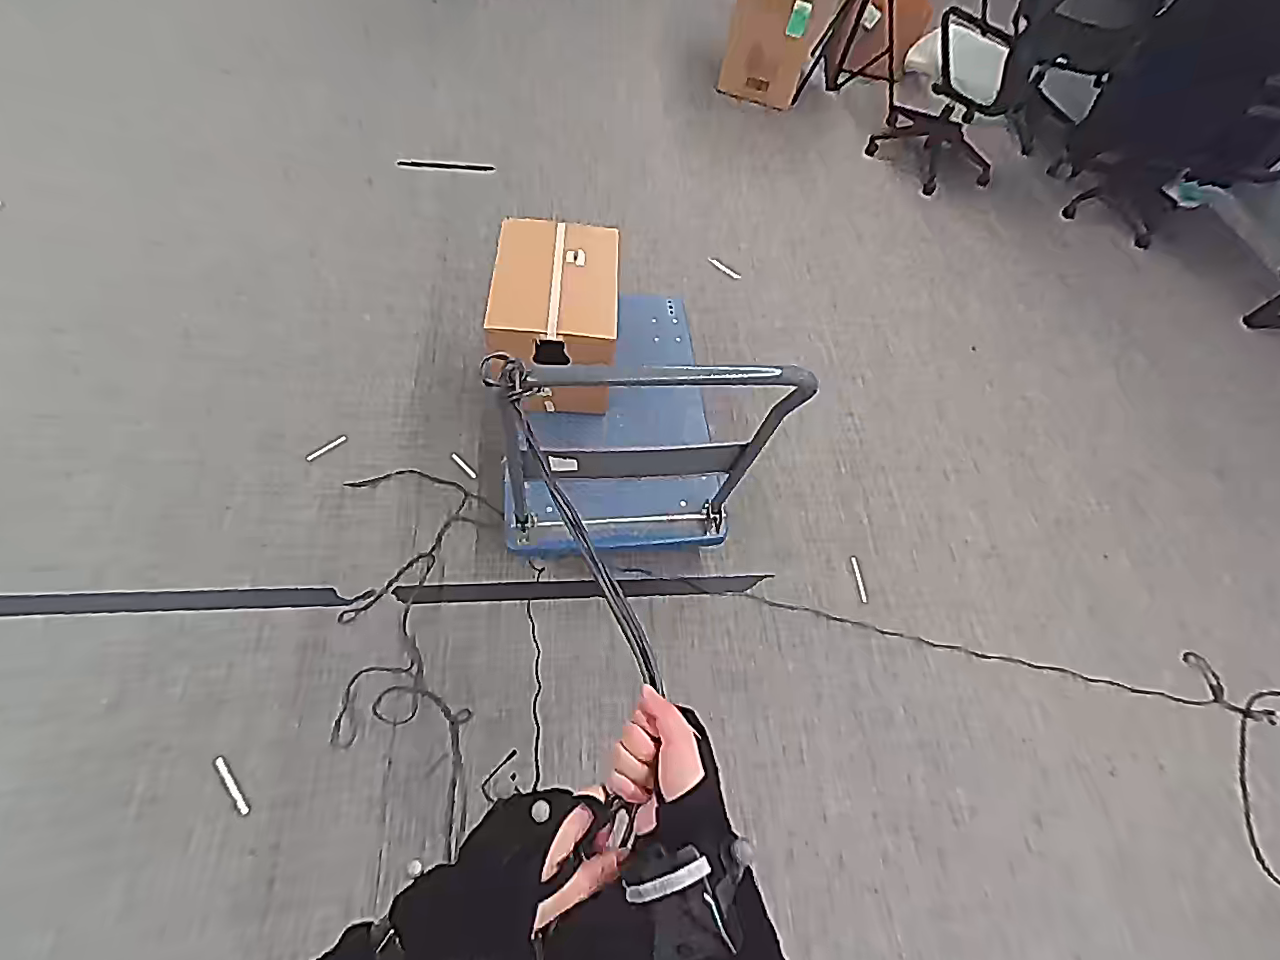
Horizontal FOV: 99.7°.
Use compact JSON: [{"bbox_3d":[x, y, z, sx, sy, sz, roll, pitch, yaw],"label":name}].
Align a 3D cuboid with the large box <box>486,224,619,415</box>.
[{"bbox_3d":[-0.226,-0.428,1.487,0.320,0.320,0.408,4,60,-7],"label":"large box"}]
